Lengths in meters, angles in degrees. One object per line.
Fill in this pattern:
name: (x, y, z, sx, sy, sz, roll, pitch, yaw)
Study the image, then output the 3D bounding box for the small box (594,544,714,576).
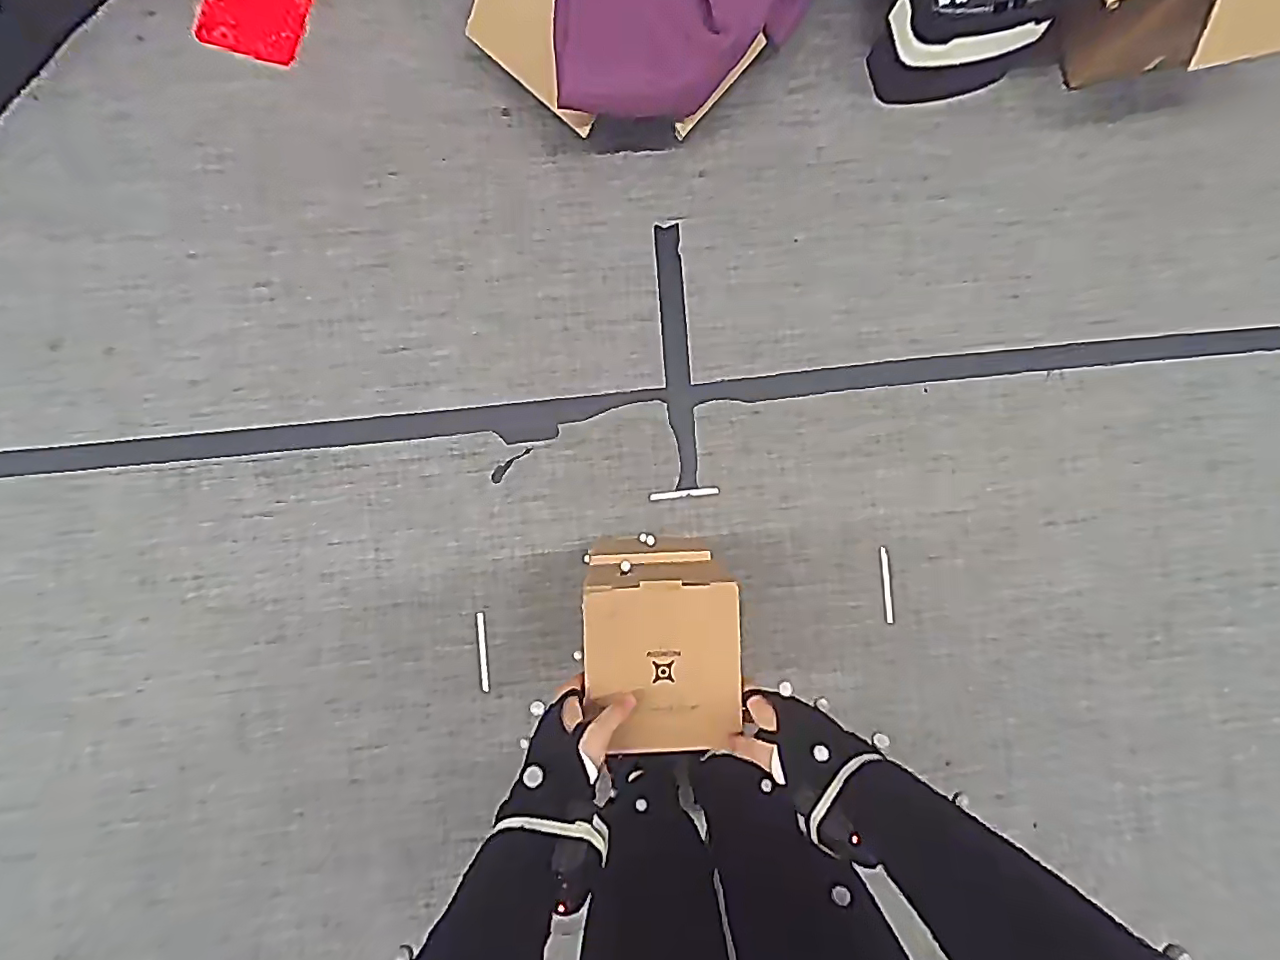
small box: (0.016, 0.189, 0.805, 0.168, 0.176, 0.179, -2, 89, -2)

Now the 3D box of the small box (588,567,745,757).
small box: (0.024, 0.199, 0.641, 0.168, 0.176, 0.179, -1, 90, -2)

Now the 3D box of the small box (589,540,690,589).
small box: (0.003, 0.198, 0.969, 0.179, 0.176, 0.168, -1, 89, -3)
